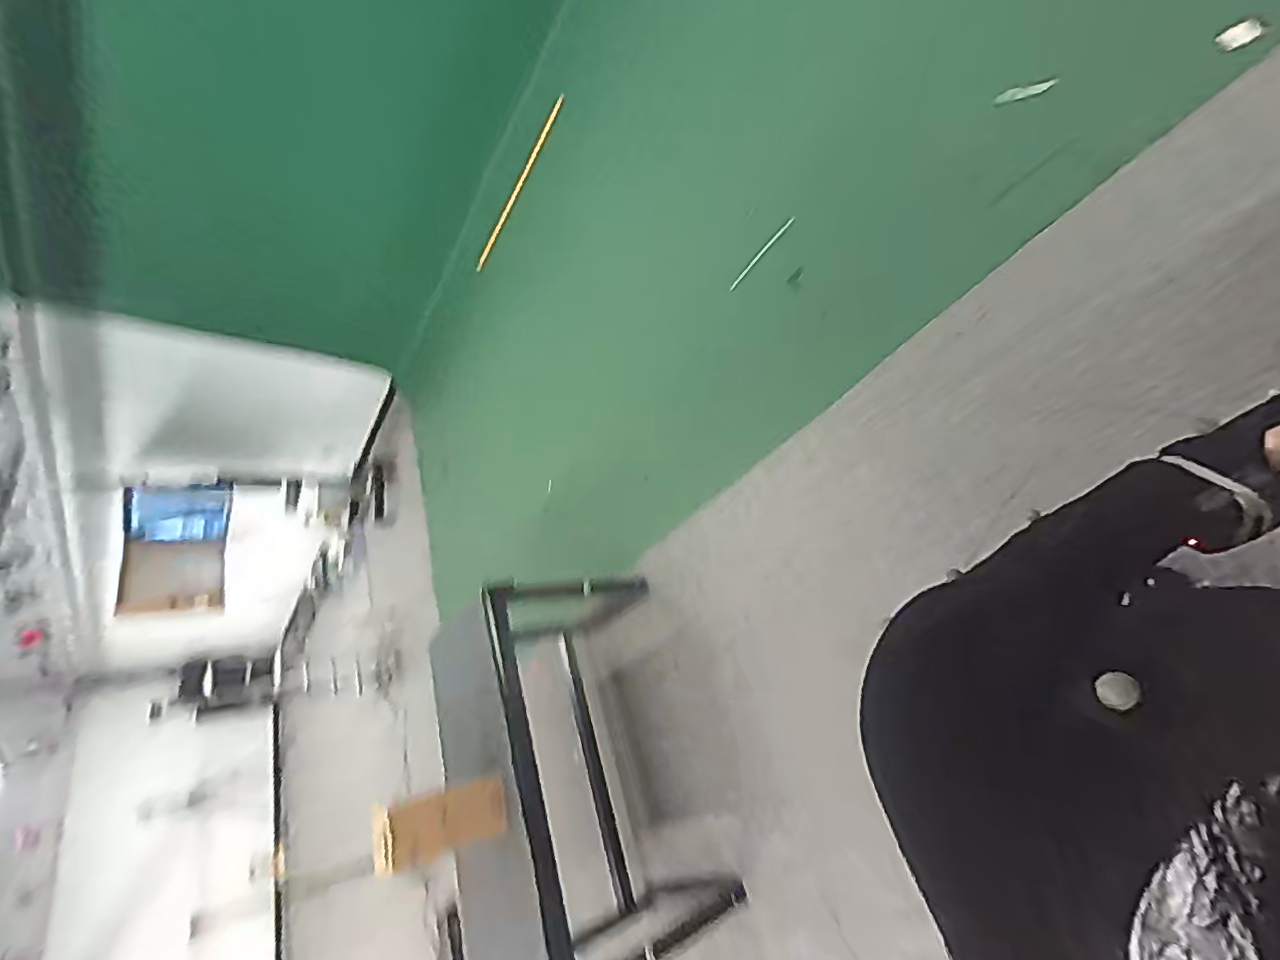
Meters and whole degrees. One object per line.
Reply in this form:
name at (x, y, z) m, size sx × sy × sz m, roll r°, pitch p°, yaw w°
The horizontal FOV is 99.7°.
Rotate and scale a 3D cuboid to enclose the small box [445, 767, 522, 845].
small box at (-0.479, 0.995, 1.656) m, size 0.179 × 0.176 × 0.168 m, roll -38°, pitch 59°, yaw 43°
